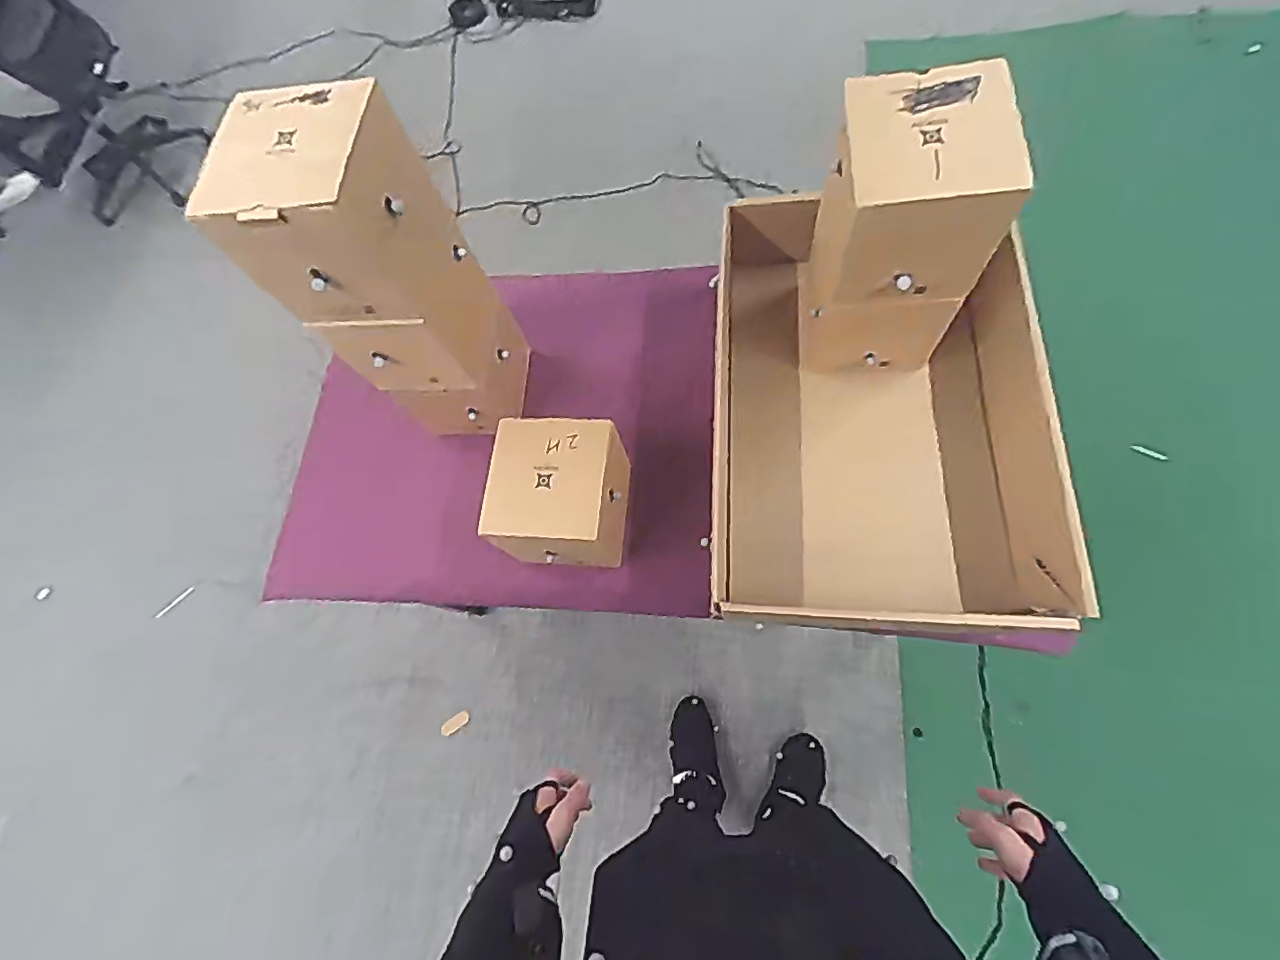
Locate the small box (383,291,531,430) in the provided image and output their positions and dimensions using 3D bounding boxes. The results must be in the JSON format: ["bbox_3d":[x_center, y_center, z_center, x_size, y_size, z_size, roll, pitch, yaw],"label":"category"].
[{"bbox_3d":[-0.297,-0.194,0.917,0.168,0.176,0.179,2,70,9],"label":"small box"}]

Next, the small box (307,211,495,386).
[{"bbox_3d":[-0.321,-0.245,0.765,0.168,0.176,0.179,1,70,9],"label":"small box"}]

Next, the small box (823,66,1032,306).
[{"bbox_3d":[0.314,-0.330,0.633,0.168,0.176,0.179,-1,72,10],"label":"small box"}]

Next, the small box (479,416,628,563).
[{"bbox_3d":[-0.116,0.021,0.806,0.168,0.176,0.179,3,70,9],"label":"small box"}]

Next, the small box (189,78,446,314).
[{"bbox_3d":[-0.343,-0.305,0.614,0.168,0.176,0.179,1,71,8],"label":"small box"}]
